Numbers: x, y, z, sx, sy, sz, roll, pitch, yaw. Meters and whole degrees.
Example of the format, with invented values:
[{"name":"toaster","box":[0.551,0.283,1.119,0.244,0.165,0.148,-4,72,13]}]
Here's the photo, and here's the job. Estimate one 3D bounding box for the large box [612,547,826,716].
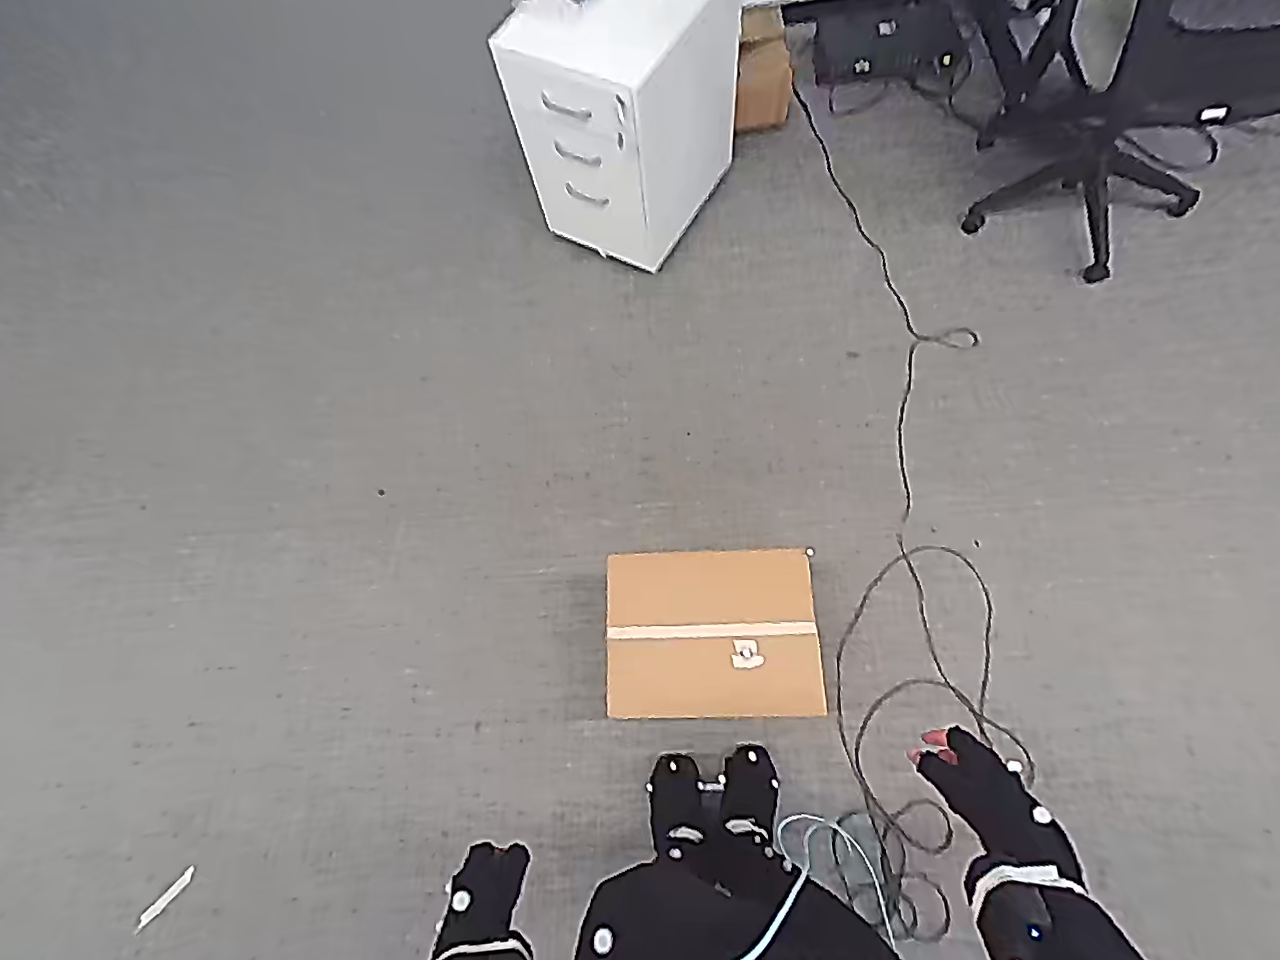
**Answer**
[{"name":"large box","box":[0.154,0.340,1.195,0.408,0.320,0.320,-2,71,4]}]
